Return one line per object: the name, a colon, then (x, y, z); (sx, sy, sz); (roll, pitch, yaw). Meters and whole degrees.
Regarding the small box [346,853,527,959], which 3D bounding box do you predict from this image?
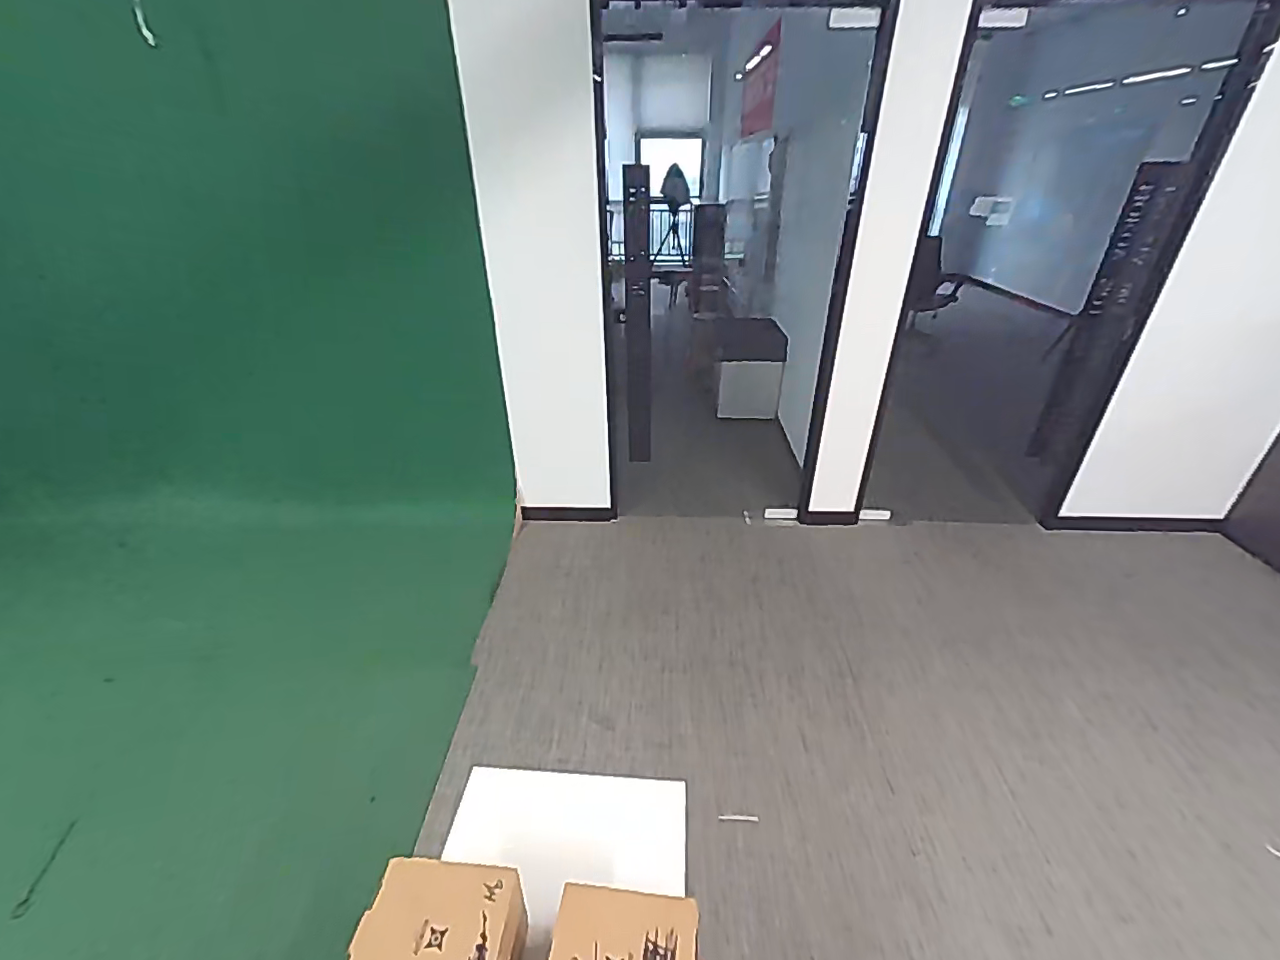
small box: (-0.256, 0.617, 0.695); (0.179, 0.176, 0.168); (3, 31, 3)
